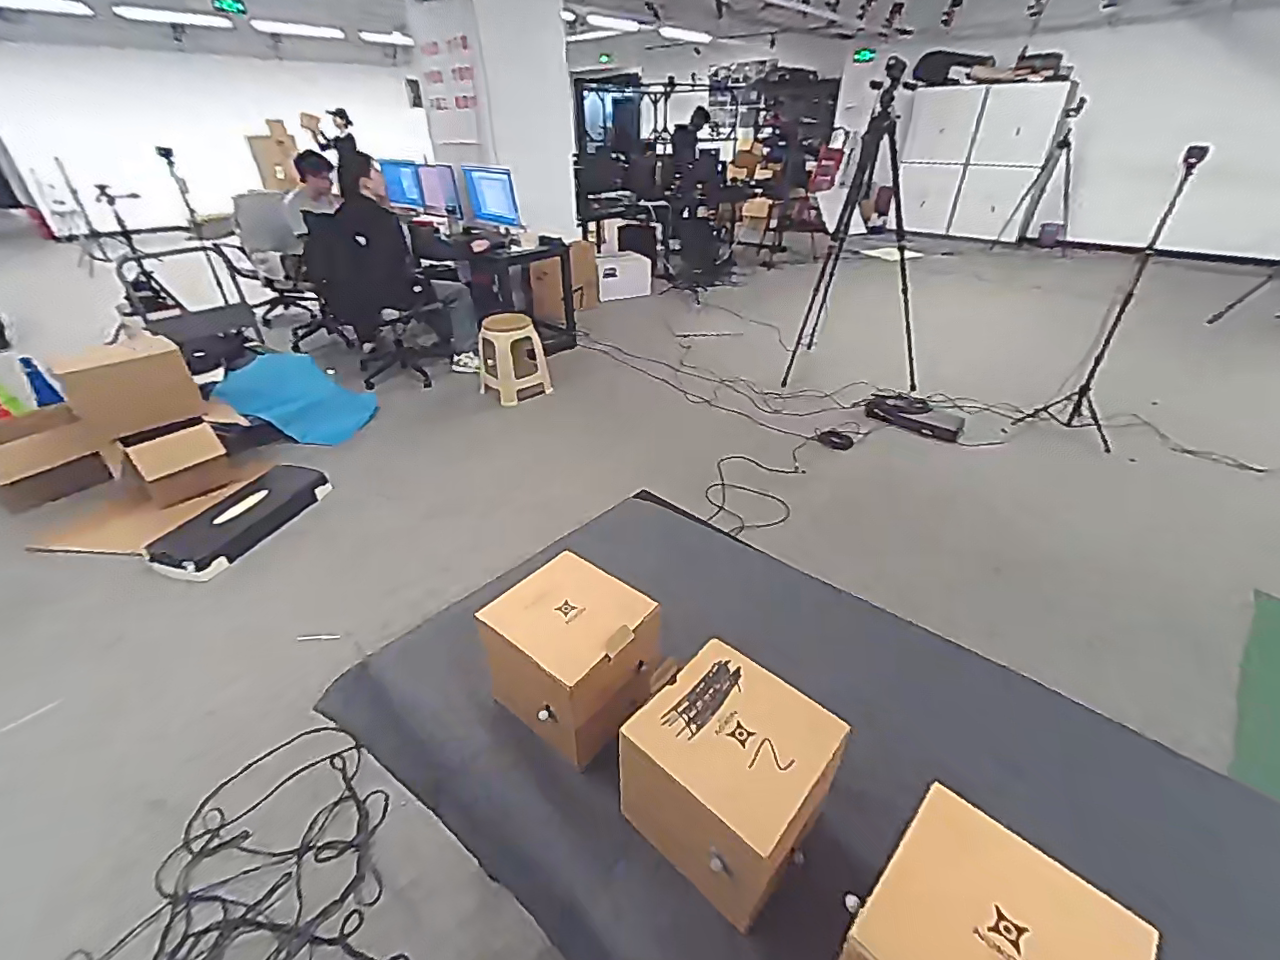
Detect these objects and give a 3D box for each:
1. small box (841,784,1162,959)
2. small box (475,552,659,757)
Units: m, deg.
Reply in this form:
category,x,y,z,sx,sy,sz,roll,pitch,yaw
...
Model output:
category,x,y,z,sx,sy,sz,roll,pitch,yaw
small box,0.272,0.407,0.439,0.168,0.176,0.179,27,37,37
small box,-0.091,0.234,0.728,0.179,0.176,0.168,22,38,32
